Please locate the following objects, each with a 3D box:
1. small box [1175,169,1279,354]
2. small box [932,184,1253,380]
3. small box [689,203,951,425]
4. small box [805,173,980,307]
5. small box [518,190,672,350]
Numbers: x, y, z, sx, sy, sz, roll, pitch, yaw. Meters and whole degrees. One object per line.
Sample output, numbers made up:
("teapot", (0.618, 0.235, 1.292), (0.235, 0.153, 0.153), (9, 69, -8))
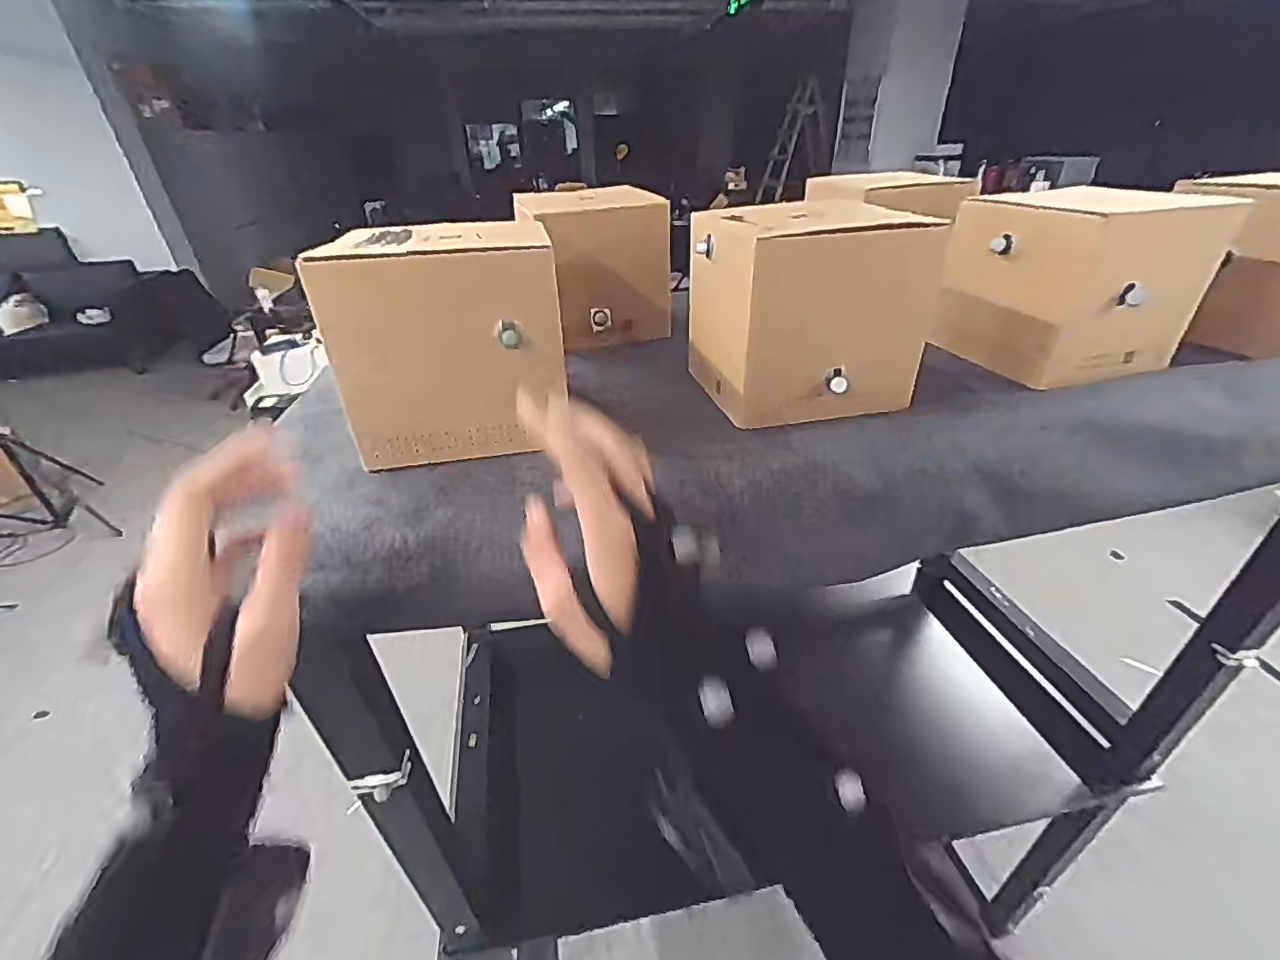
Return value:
("small box", (0.727, -0.249, 0.615), (0.168, 0.176, 0.179), (-11, 32, -13))
("small box", (0.457, -0.213, 0.582), (0.168, 0.176, 0.179), (-9, 32, -10))
("small box", (0.154, -0.168, 0.531), (0.179, 0.176, 0.168), (-8, 32, -10))
("small box", (0.358, -0.357, 0.812), (0.179, 0.176, 0.168), (-8, 34, -8))
("small box", (-0.062, -0.287, 0.730), (0.168, 0.176, 0.179), (-12, 34, -13))
